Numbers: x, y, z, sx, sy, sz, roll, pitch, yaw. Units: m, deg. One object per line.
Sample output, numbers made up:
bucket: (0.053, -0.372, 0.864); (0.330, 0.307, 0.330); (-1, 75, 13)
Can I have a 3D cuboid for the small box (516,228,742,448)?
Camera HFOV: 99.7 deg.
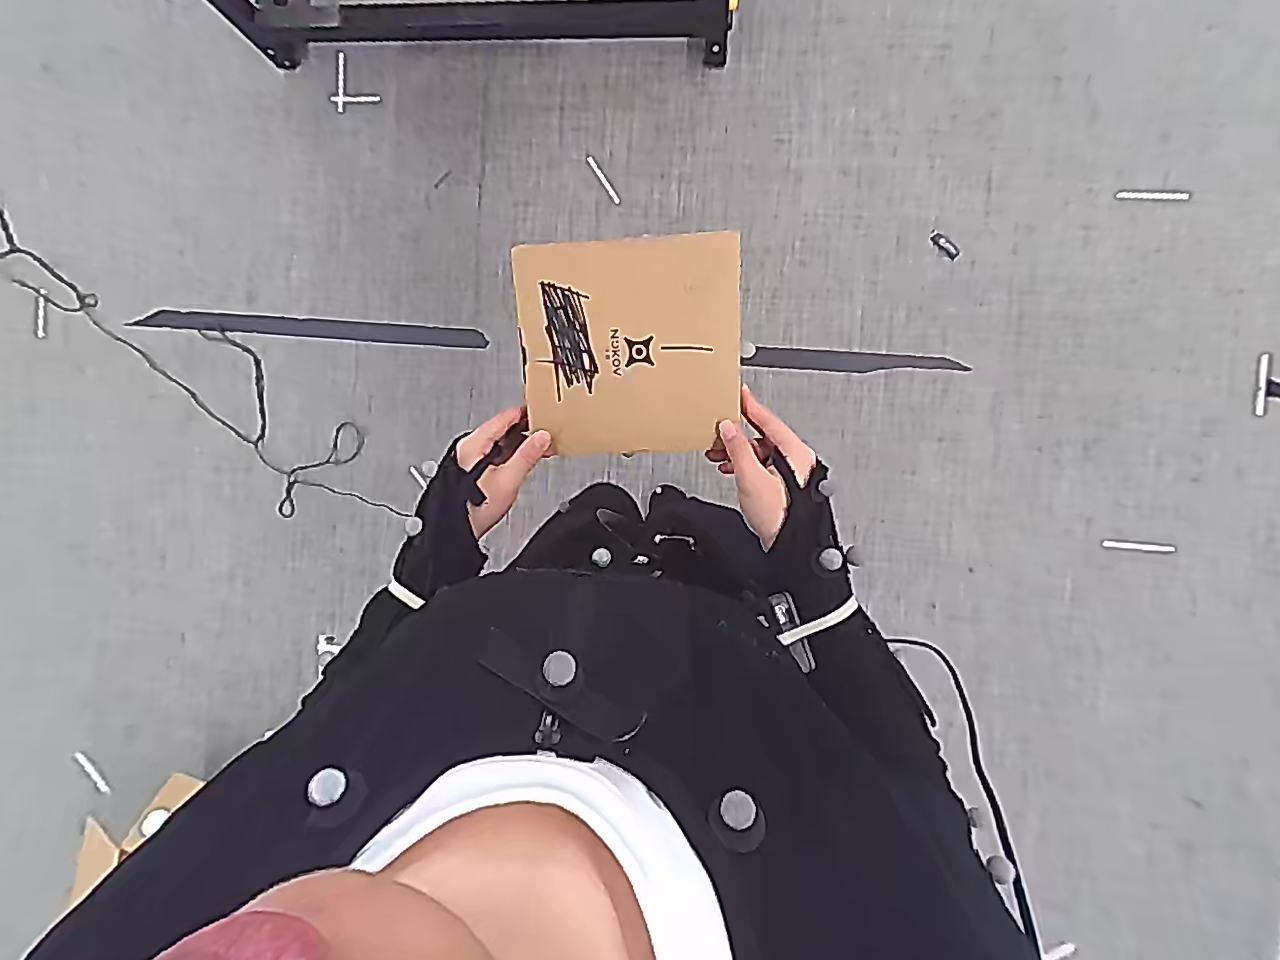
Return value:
small box: (0.003, -0.124, 0.501); (0.179, 0.176, 0.168); (-1, 104, 8)
